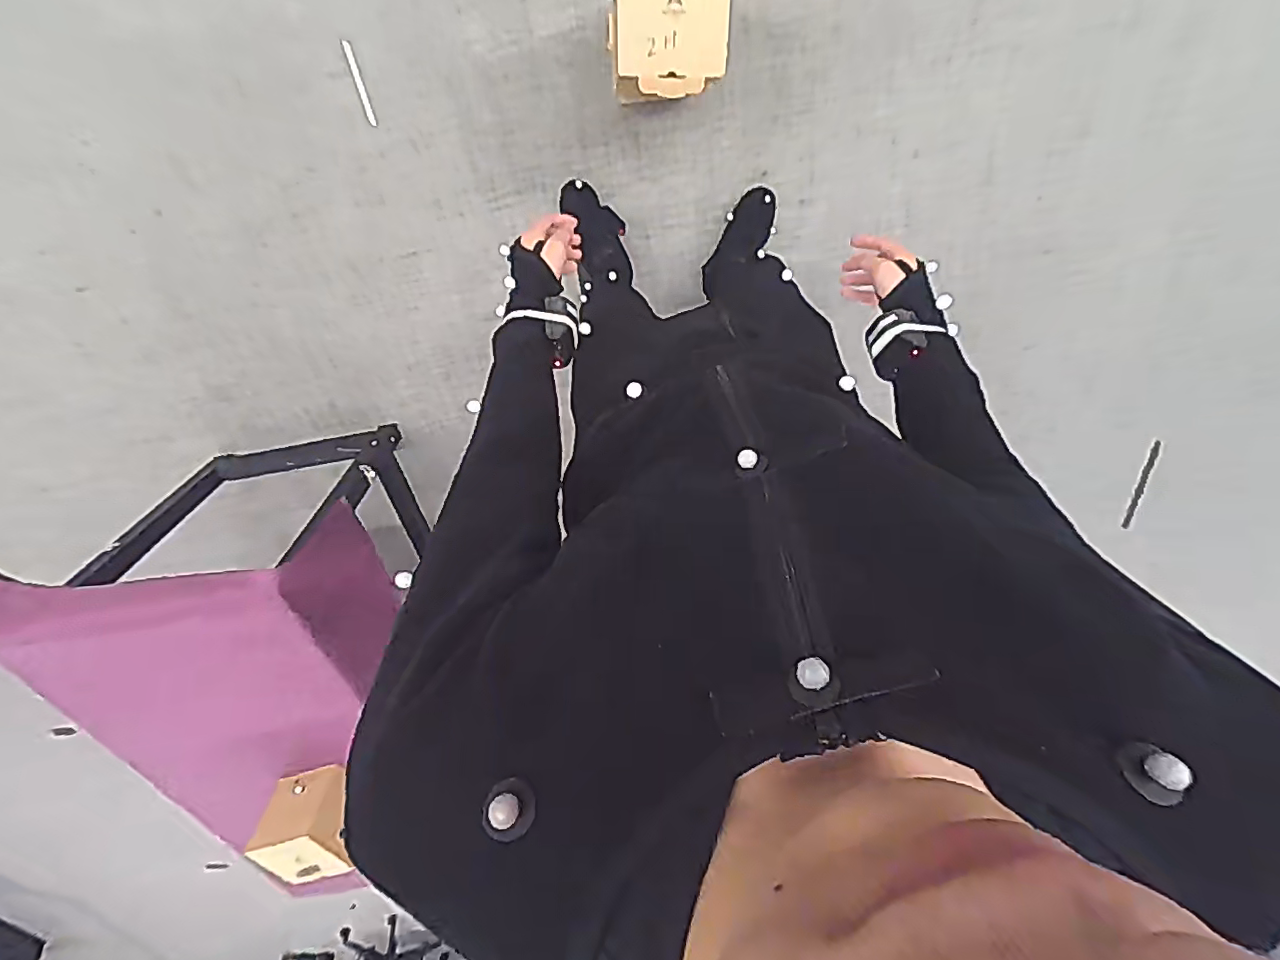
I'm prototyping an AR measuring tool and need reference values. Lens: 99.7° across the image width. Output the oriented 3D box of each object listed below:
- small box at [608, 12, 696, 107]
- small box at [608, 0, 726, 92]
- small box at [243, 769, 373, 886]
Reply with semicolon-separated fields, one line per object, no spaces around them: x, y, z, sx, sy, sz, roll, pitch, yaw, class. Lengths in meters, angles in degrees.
0.024;-0.892;1.133;0.168;0.176;0.179;-6;122;-1;small box
0.036;-0.725;0.848;0.168;0.176;0.179;-2;122;-4;small box
-0.778;0.827;1.293;0.168;0.176;0.179;-19;121;7;small box
